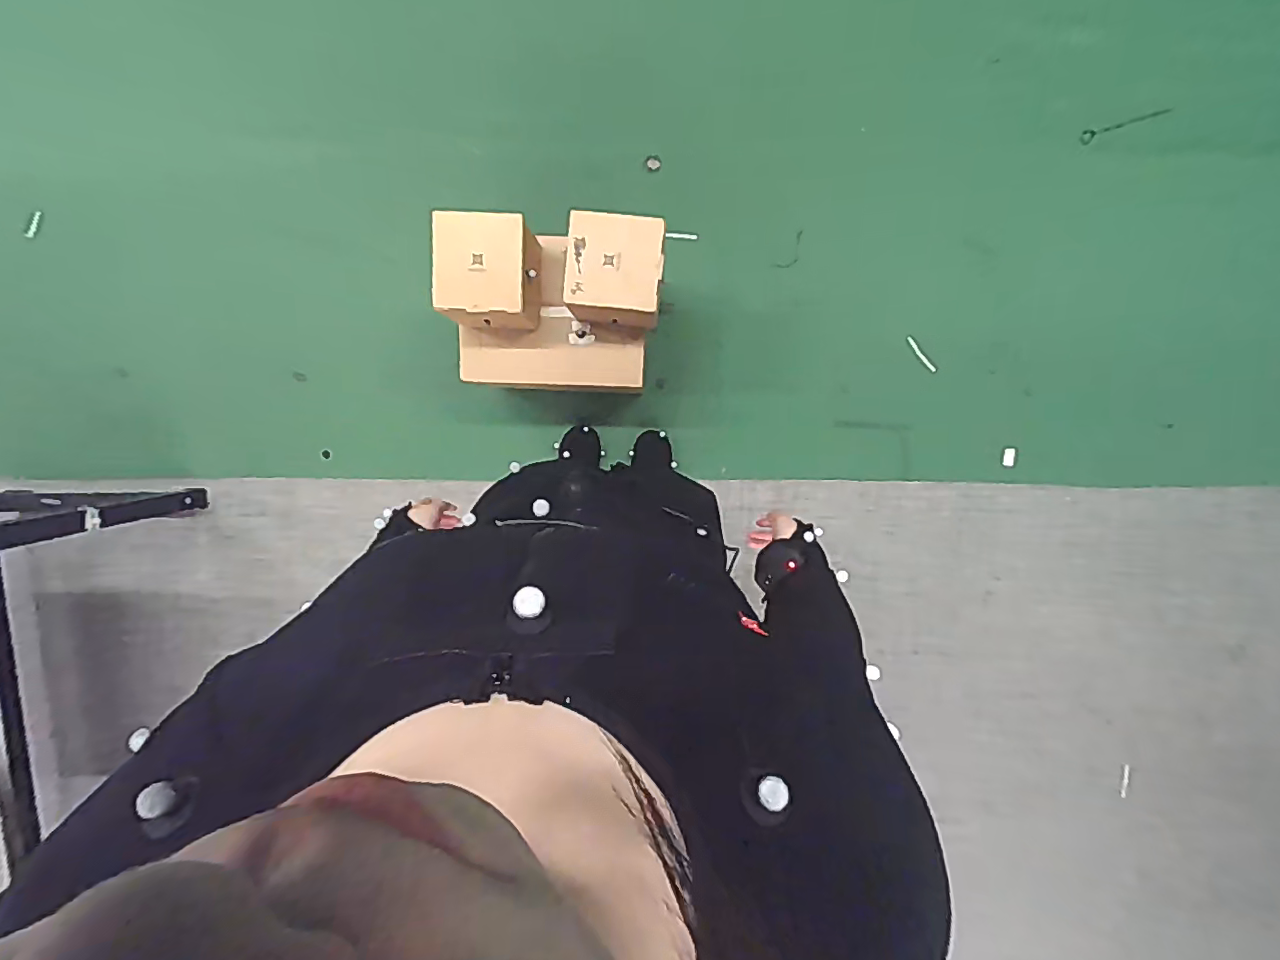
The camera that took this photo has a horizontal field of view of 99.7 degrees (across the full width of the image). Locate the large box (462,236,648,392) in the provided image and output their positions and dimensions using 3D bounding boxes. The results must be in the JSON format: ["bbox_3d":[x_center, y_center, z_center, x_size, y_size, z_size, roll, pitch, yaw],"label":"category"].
[{"bbox_3d":[-0.182,-0.376,1.299,0.408,0.320,0.320,2,98,0],"label":"large box"}]

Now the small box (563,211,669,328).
[{"bbox_3d":[-0.043,-0.397,1.047,0.179,0.176,0.168,7,96,1],"label":"small box"}]

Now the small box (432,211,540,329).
[{"bbox_3d":[-0.292,-0.400,1.054,0.168,0.176,0.179,2,97,0],"label":"small box"}]
